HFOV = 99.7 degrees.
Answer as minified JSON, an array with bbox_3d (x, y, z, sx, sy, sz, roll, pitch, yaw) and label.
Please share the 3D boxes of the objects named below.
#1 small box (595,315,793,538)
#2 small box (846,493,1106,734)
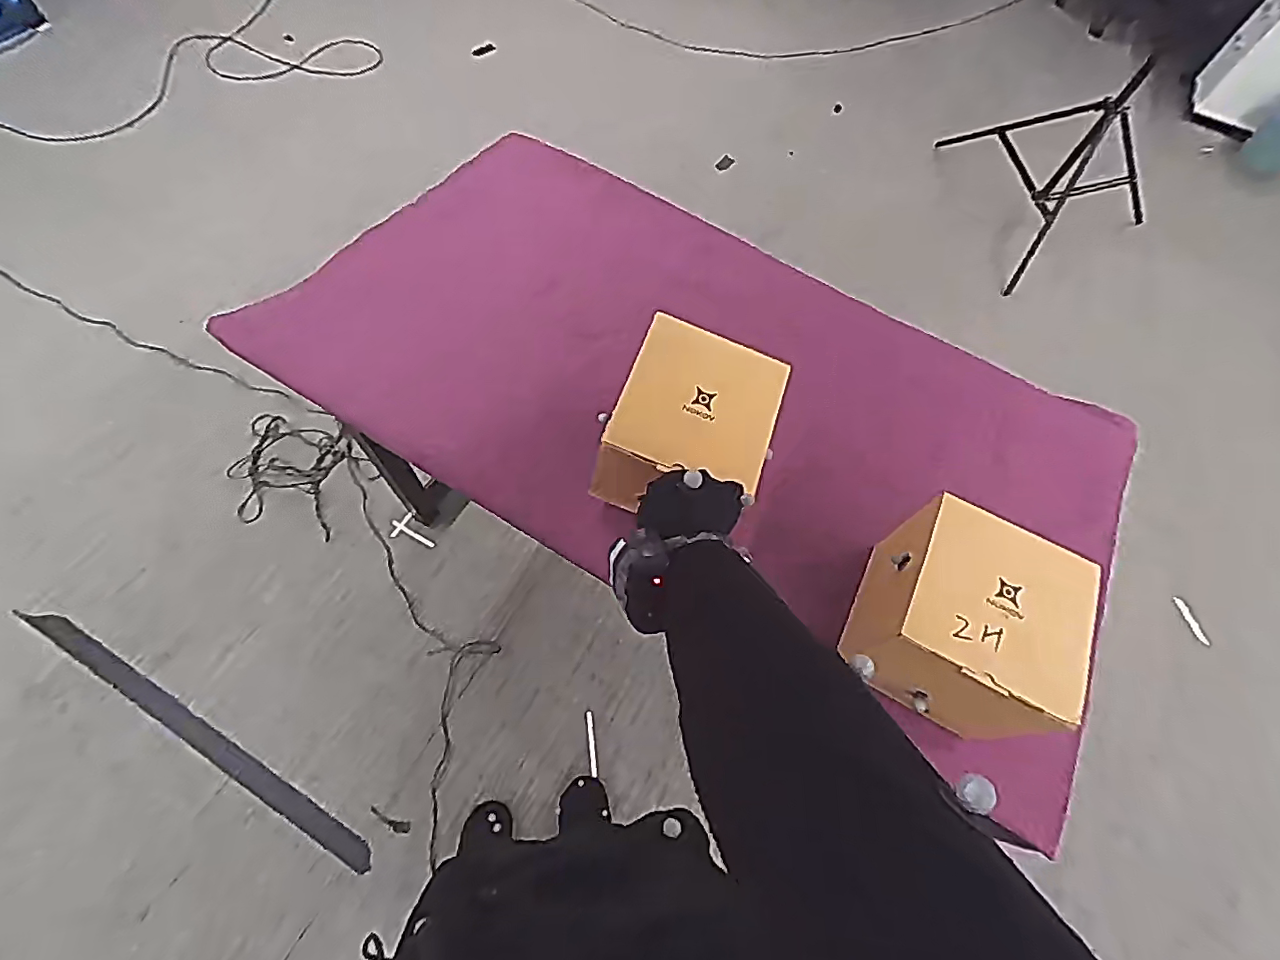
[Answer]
[{"bbox_3d":[0.055,-0.053,0.646,0.168,0.176,0.179,23,68,-3],"label":"small box"},{"bbox_3d":[0.351,0.151,0.590,0.168,0.176,0.179,27,64,10],"label":"small box"}]
